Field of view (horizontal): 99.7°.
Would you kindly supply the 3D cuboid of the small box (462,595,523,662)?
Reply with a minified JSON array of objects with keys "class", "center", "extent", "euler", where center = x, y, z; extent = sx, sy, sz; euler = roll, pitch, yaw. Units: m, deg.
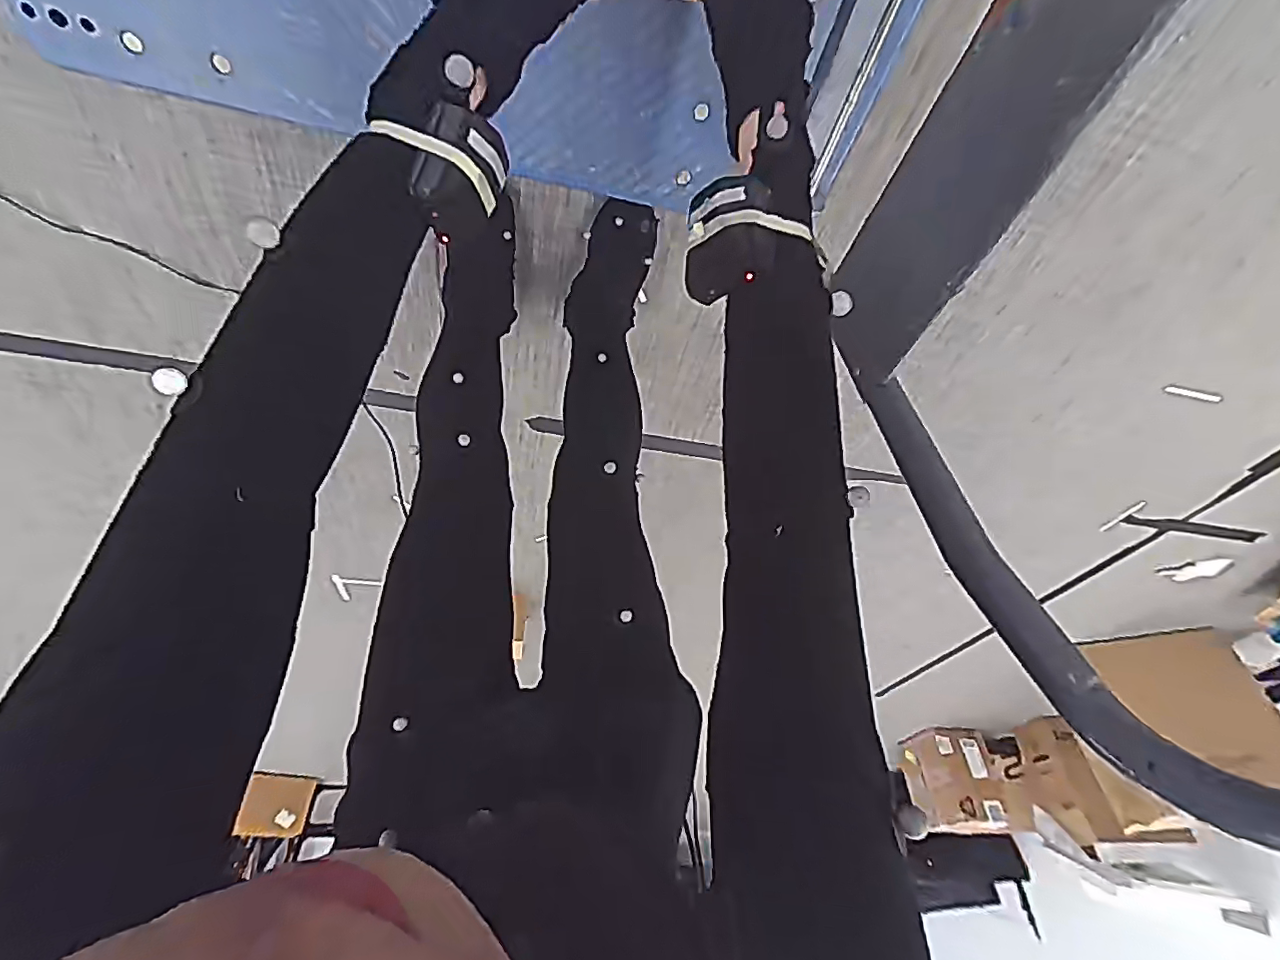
[{"class":"small box","center":[-0.503,0.508,1.853],"extent":[0.179,0.176,0.168],"euler":[6,141,-11]}]
